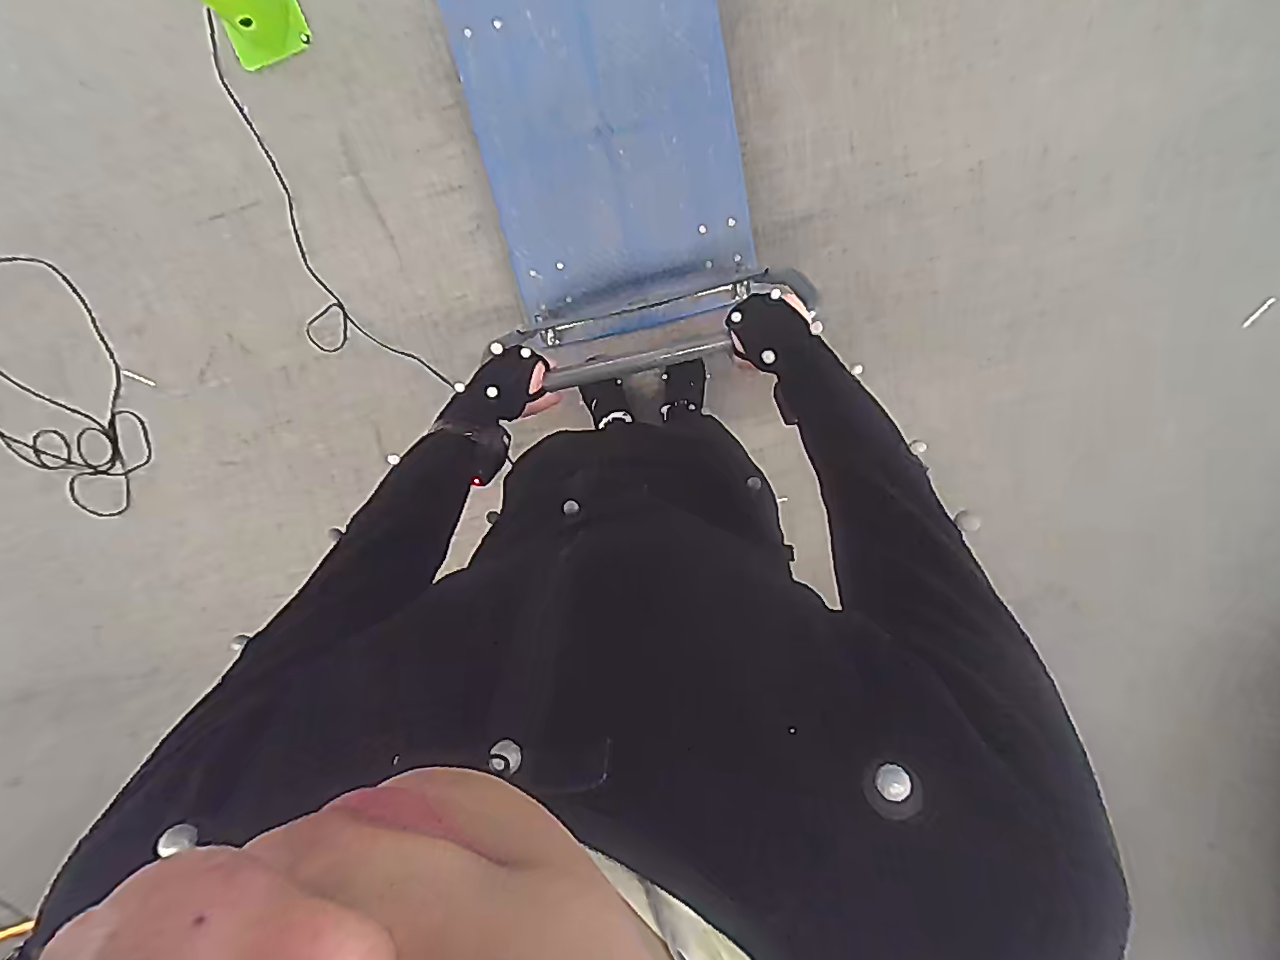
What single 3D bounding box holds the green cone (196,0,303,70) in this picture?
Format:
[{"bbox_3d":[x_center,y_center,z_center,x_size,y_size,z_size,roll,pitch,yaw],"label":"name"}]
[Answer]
[{"bbox_3d":[-0.946,-1.078,1.142,0.202,0.368,0.200,-17,107,9],"label":"green cone"}]
